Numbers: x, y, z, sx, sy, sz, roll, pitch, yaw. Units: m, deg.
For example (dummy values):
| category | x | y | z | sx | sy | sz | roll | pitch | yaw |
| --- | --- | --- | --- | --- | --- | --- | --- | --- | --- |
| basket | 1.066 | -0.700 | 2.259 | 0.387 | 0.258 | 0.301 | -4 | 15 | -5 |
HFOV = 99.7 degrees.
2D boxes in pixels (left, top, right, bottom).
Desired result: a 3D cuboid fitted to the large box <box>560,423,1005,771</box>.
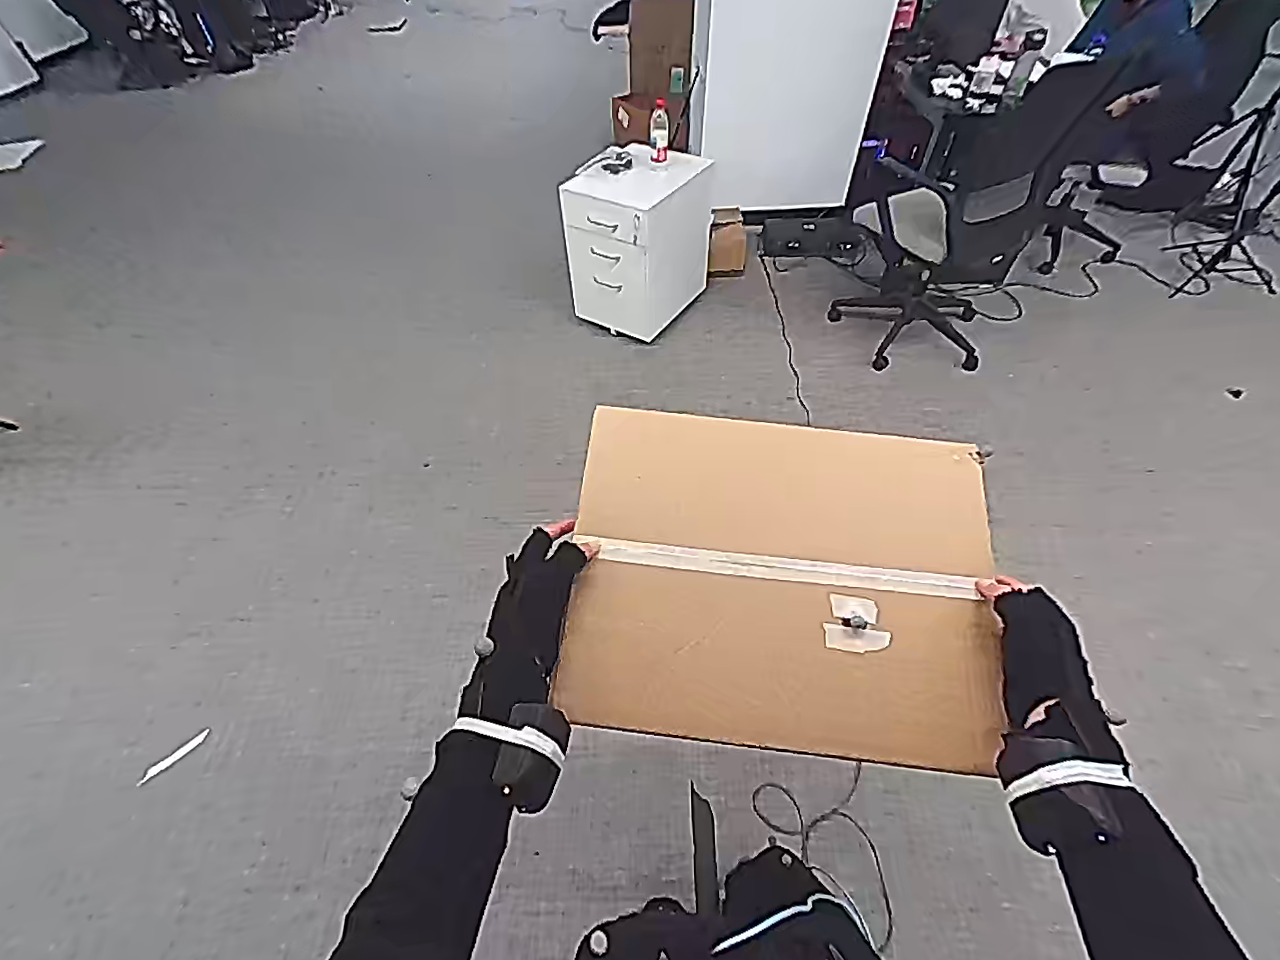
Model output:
| category | x | y | z | sx | sy | sz | roll | pitch | yaw |
| --- | --- | --- | --- | --- | --- | --- | --- | --- | --- |
| large box | 0.137 | 0.151 | 0.671 | 0.408 | 0.320 | 0.320 | 6 | 69 | 2 |
